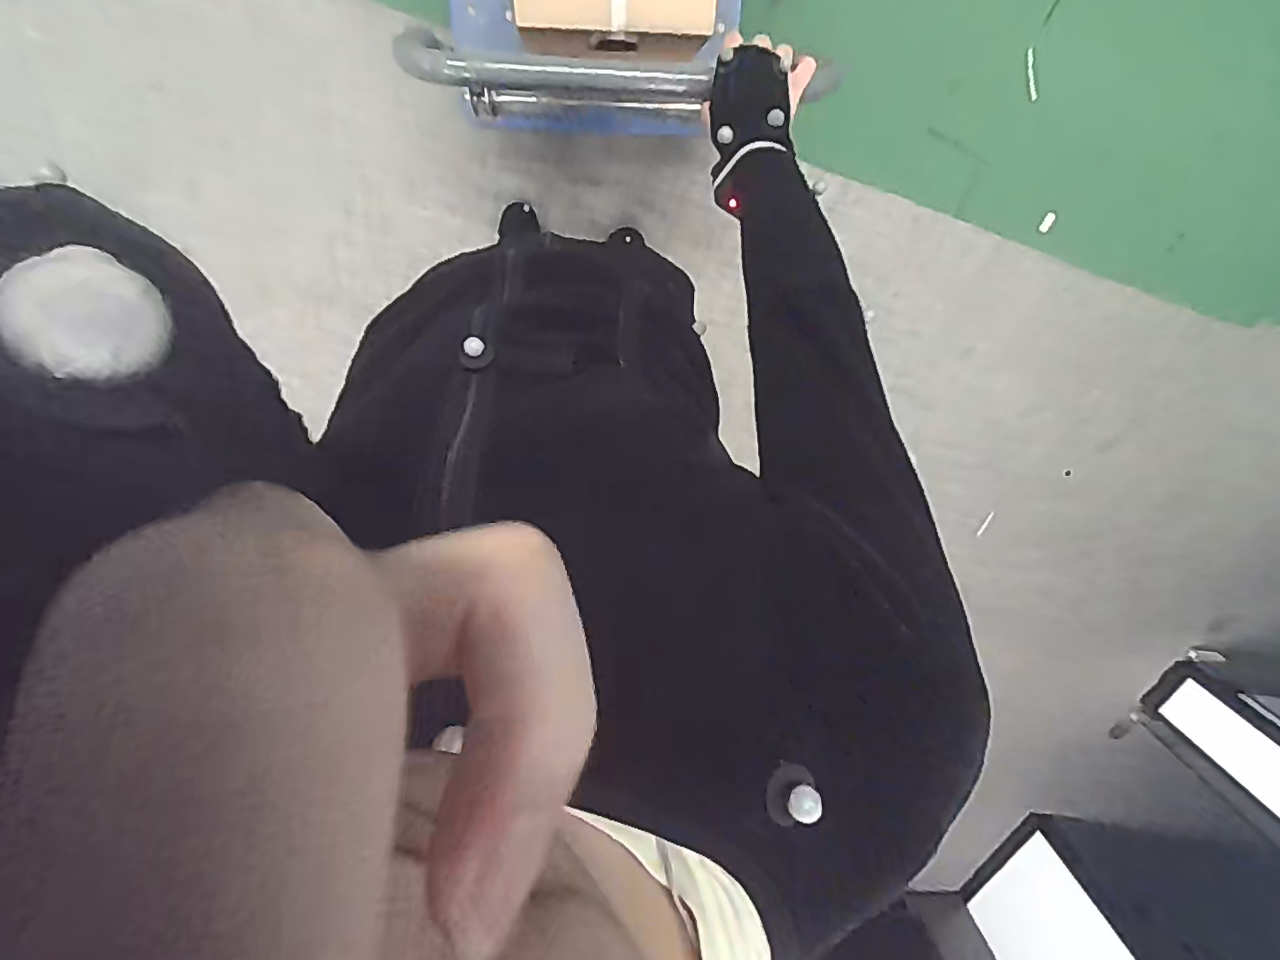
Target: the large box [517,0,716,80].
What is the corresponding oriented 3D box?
[{"bbox_3d":[-0.046,-0.944,0.903,0.320,0.320,0.408,-2,117,-6],"label":"large box"}]
